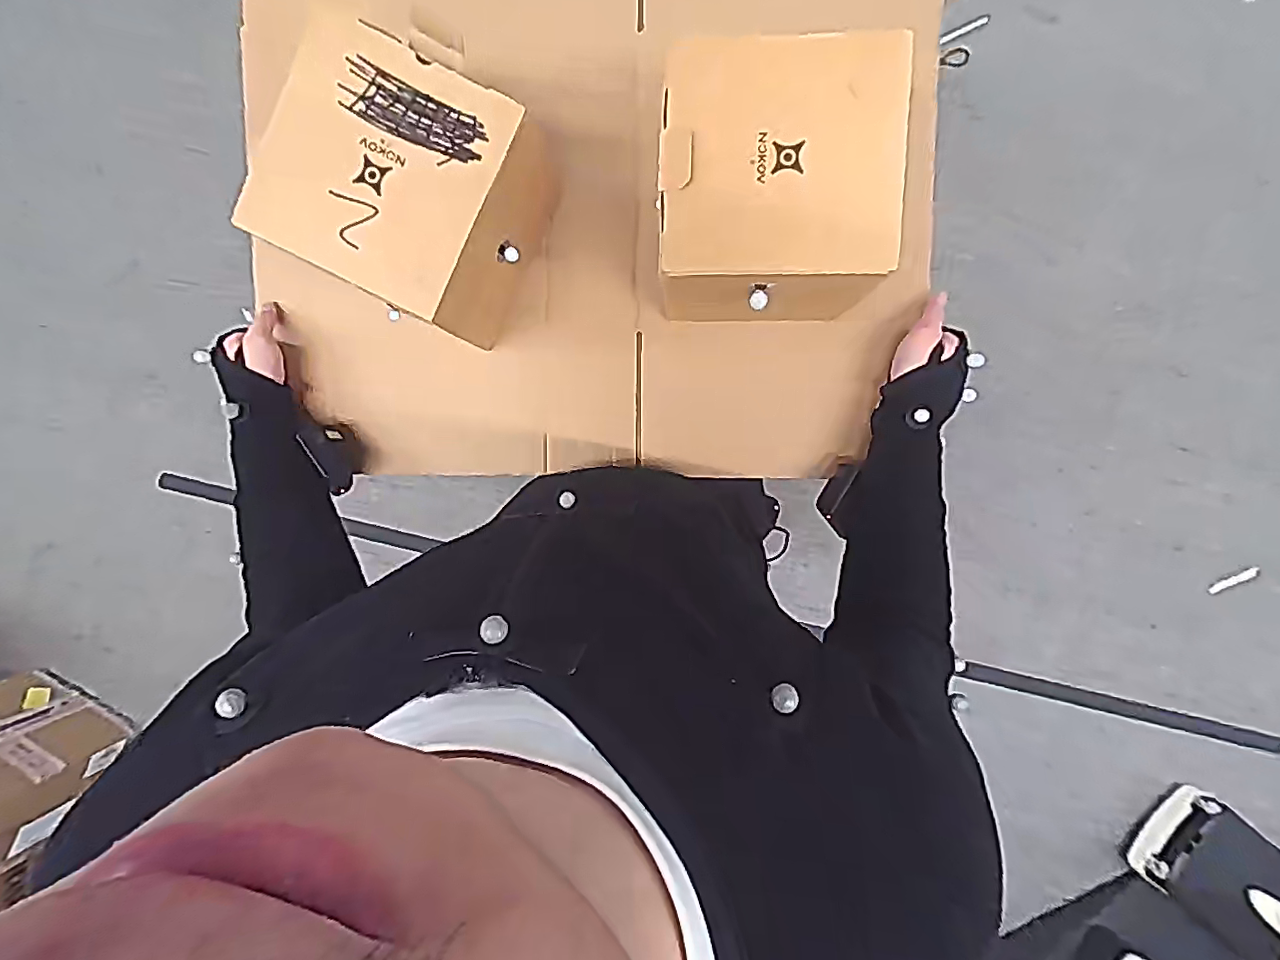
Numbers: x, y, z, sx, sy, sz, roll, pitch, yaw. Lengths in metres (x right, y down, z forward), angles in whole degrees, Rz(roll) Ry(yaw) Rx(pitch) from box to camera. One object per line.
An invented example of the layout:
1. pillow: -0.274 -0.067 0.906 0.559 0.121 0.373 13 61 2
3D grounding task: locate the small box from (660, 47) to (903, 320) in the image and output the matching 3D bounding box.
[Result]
1. small box: 0.111 -0.246 0.489 0.179 0.176 0.168 2 95 6
